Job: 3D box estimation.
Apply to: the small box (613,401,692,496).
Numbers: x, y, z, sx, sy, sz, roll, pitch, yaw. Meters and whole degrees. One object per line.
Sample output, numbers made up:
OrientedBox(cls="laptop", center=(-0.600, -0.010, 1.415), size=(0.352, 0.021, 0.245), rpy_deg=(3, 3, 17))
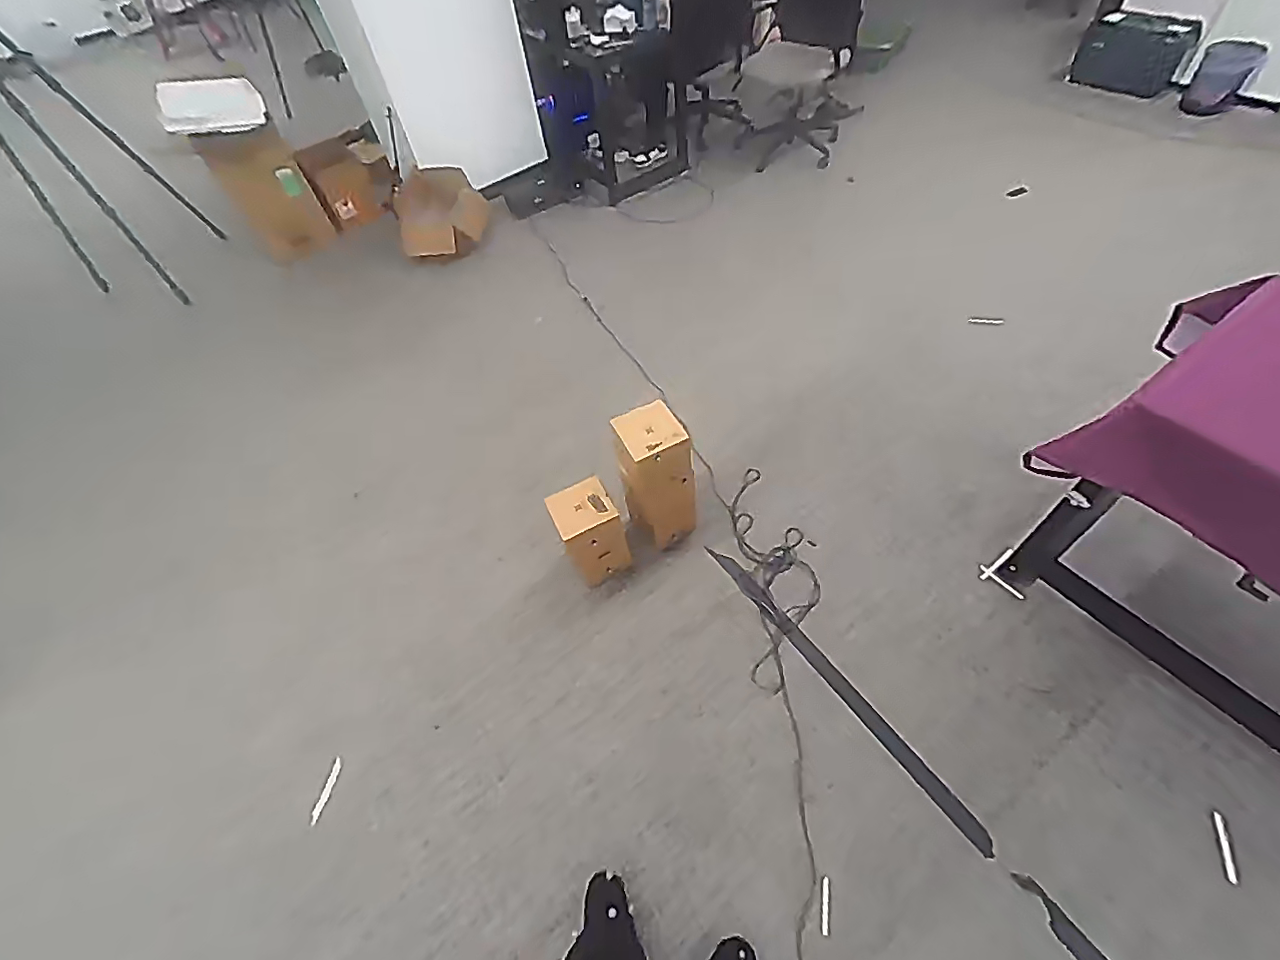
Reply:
OrientedBox(cls="small box", center=(0.038, -0.088, 1.551), size=(0.168, 0.176, 0.179), rpy_deg=(-24, 53, -10))

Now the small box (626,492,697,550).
OrientedBox(cls="small box", center=(0.074, 0.102, 1.814), size=(0.168, 0.176, 0.179), rpy_deg=(-32, 56, -15))

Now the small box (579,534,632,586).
OrientedBox(cls="small box", center=(-0.140, 0.211, 1.759), size=(0.168, 0.176, 0.179), rpy_deg=(-28, 55, -12))

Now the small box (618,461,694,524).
OrientedBox(cls="small box", center=(0.057, 0.007, 1.684), size=(0.179, 0.176, 0.168), rpy_deg=(-30, 55, -14))

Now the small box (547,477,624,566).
OrientedBox(cls="small box", center=(-0.156, 0.127, 1.618), size=(0.179, 0.176, 0.168), rpy_deg=(-25, 54, -10))
